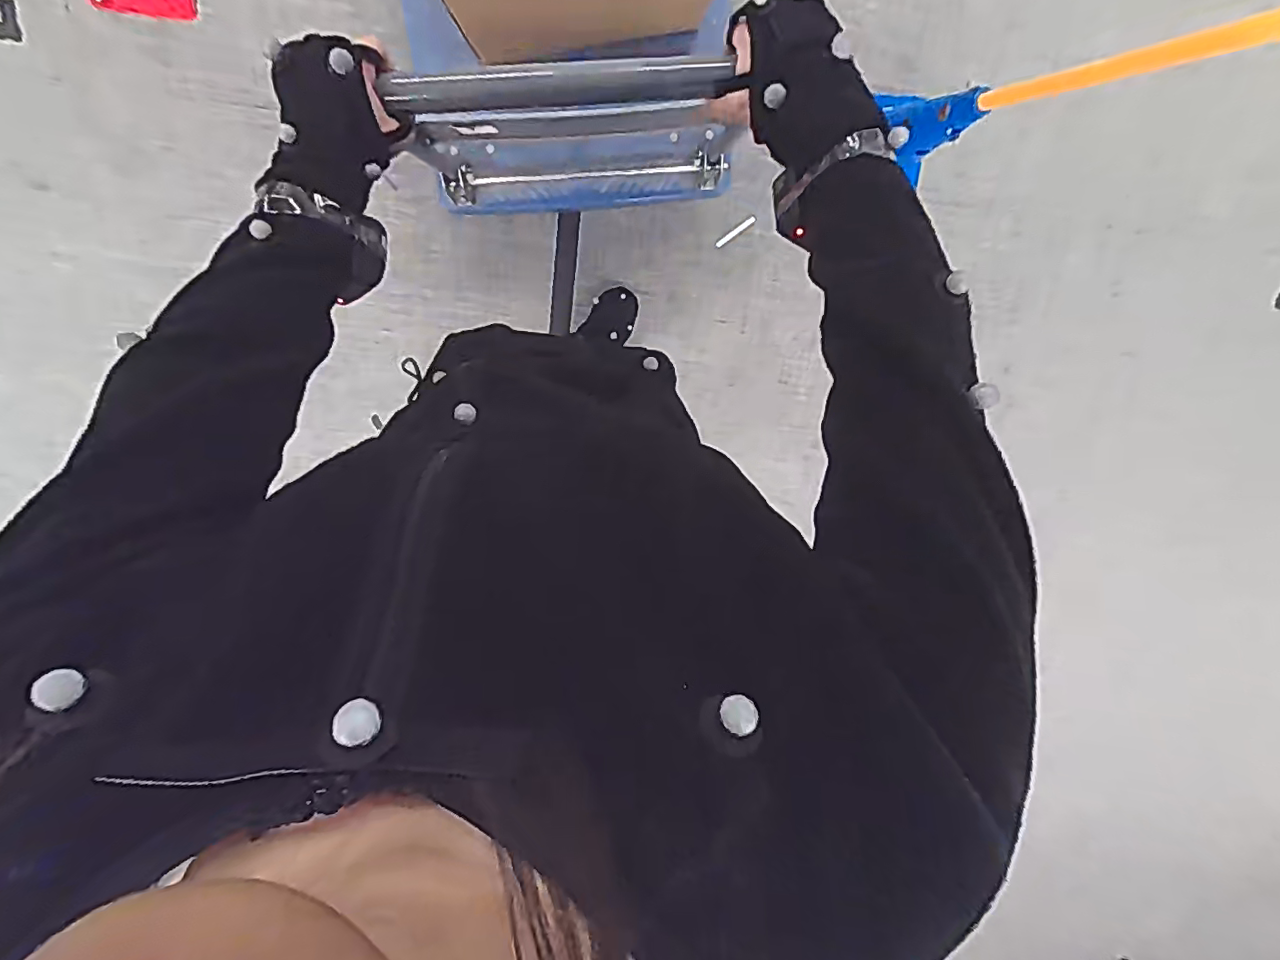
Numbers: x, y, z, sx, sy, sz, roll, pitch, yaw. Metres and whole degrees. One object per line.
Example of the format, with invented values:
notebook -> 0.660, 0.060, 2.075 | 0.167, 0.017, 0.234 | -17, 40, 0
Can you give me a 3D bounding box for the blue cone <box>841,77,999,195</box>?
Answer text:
blue cone -> 0.563, -0.697, 1.067 | 0.193, 0.380, 0.192 | 2, 110, -5
